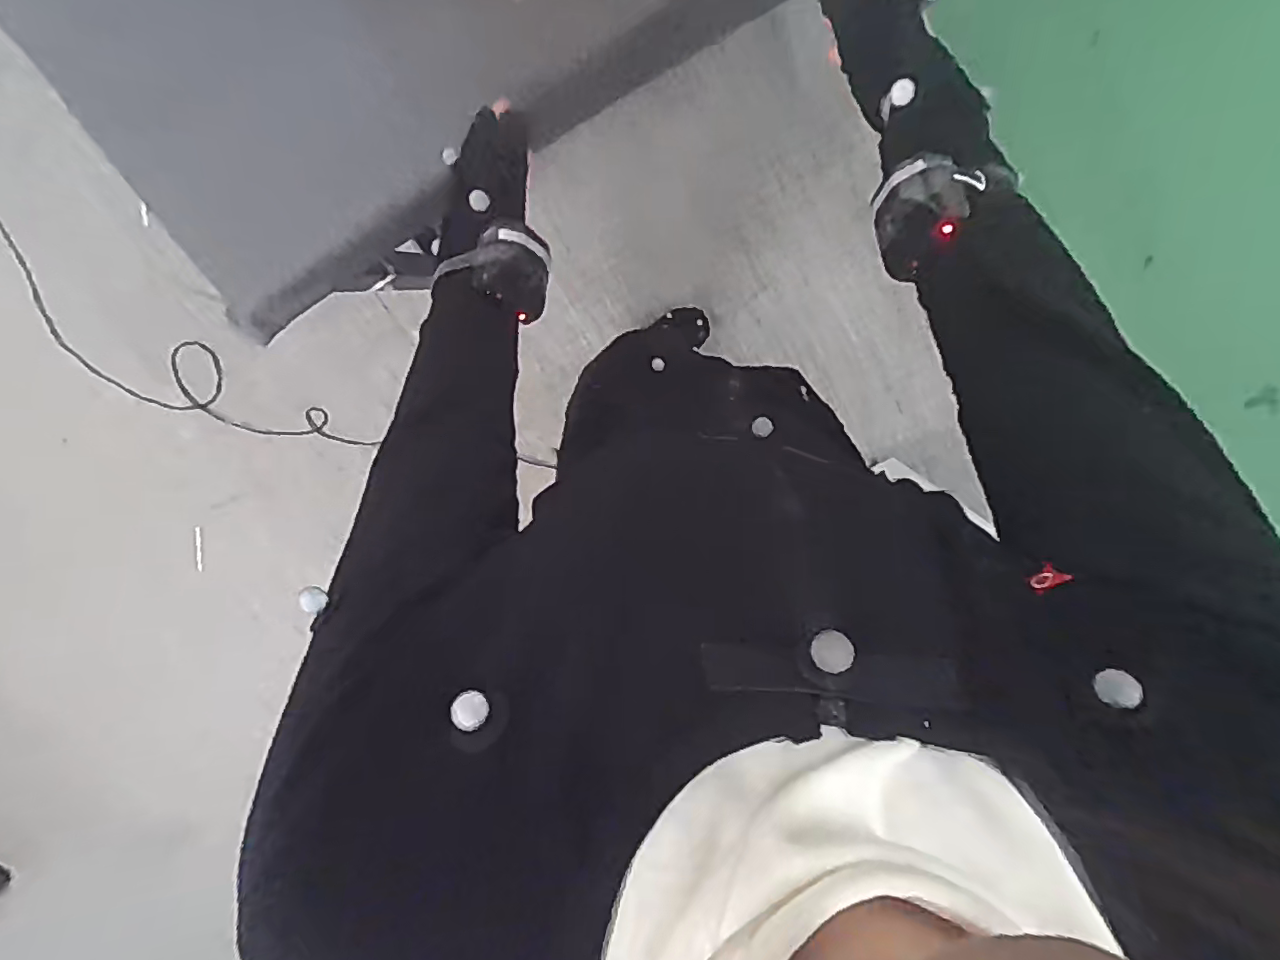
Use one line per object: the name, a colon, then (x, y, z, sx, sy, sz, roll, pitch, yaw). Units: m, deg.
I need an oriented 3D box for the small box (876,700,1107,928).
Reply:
small box: (0.452, 0.435, 0.721, 0.168, 0.176, 0.179, -34, 107, 12)
